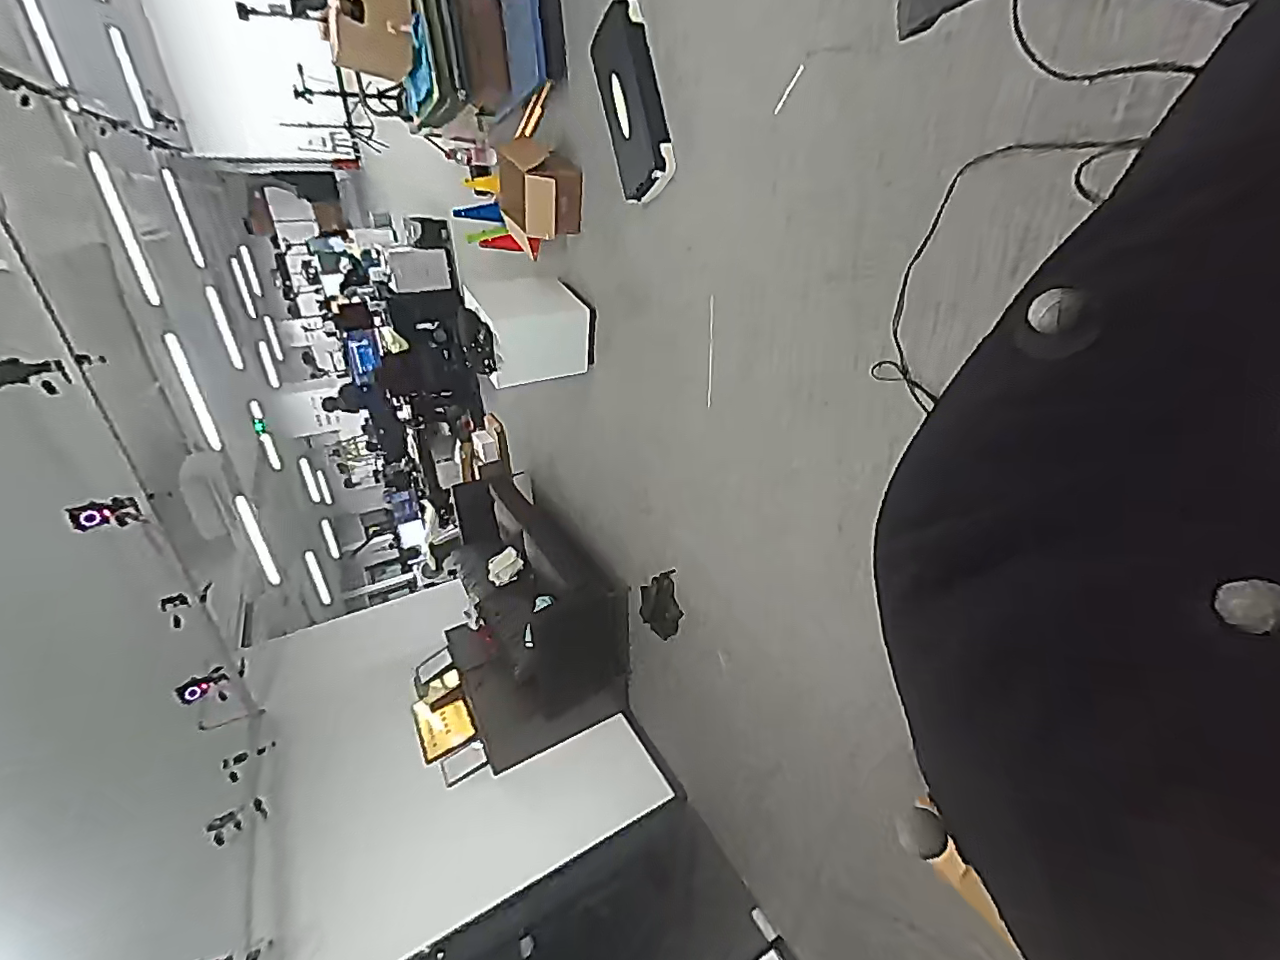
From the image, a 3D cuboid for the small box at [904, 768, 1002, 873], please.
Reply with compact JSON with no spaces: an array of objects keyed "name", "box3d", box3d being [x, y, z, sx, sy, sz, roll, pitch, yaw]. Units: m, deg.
[{"name":"small box","box3d":[0.936,1.010,1.618,0.179,0.176,0.168,40,139,51]}]
